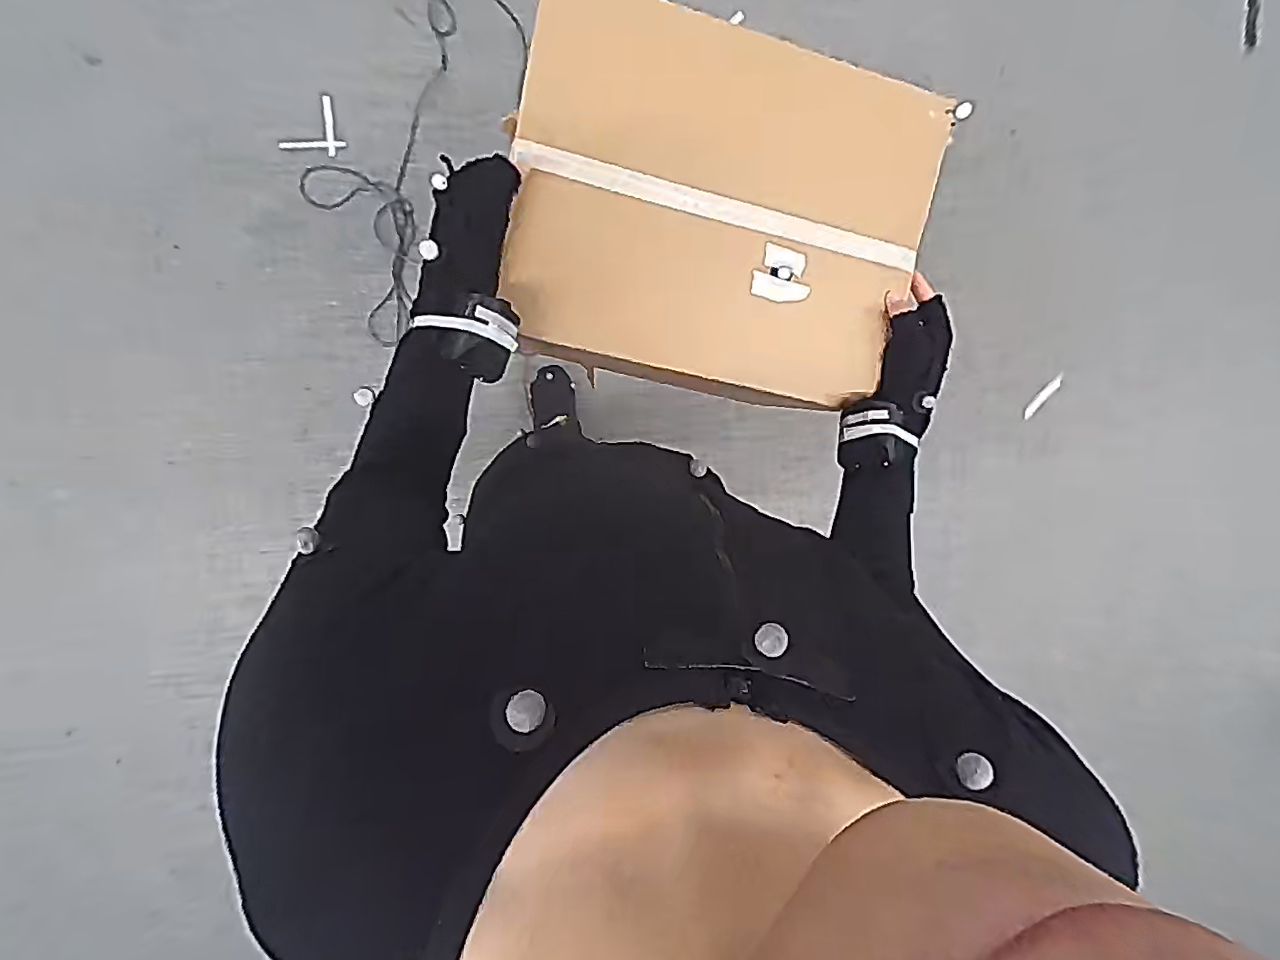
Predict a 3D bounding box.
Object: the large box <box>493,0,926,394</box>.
[{"bbox_3d":[0.051,-0.294,0.681,0.408,0.320,0.320,9,99,-10],"label":"large box"}]
